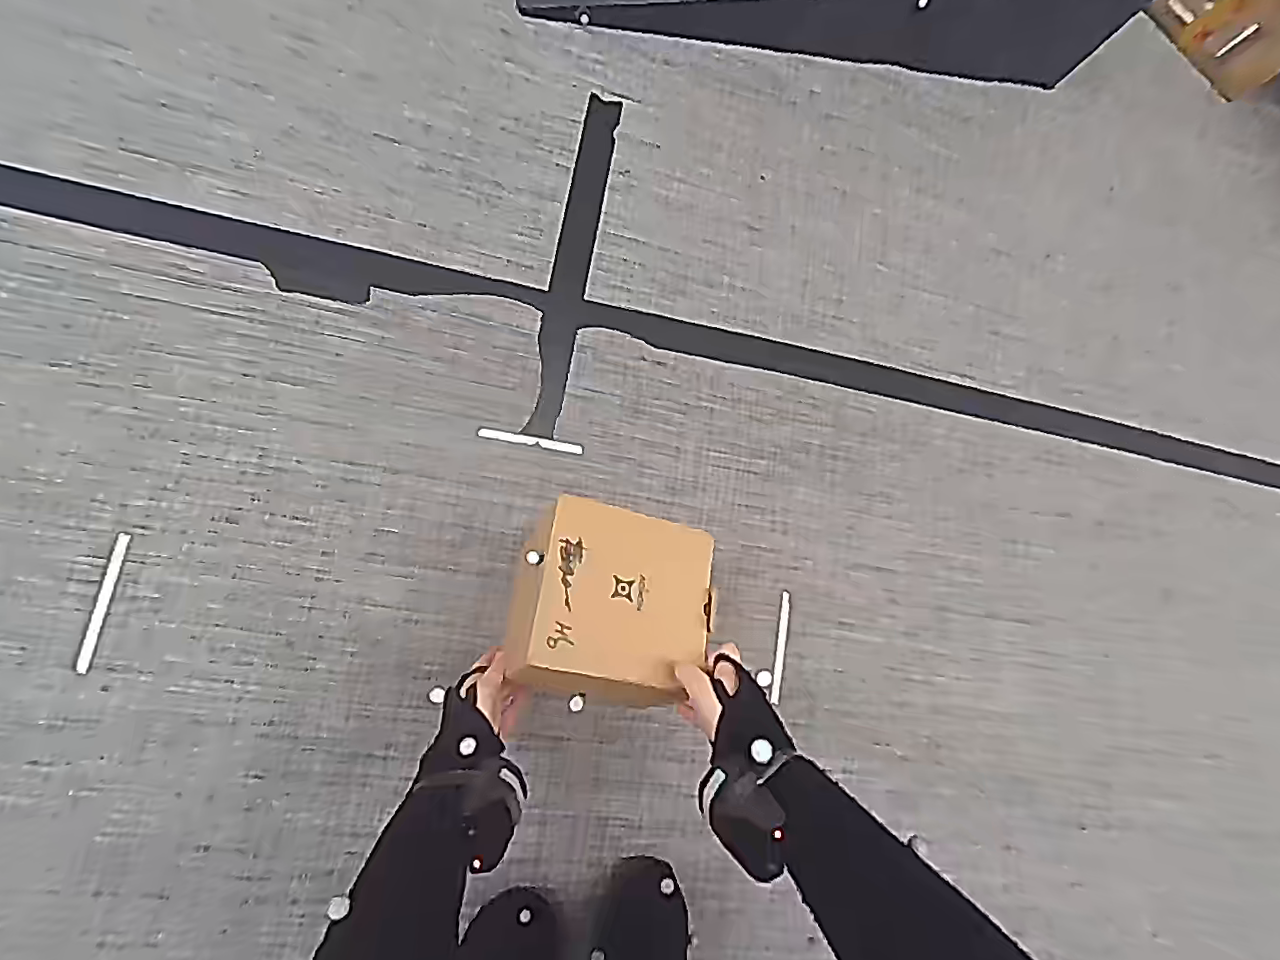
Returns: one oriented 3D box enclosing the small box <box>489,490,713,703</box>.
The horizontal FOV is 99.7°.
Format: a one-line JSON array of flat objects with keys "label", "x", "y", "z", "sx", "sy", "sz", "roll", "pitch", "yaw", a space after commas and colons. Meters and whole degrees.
[{"label": "small box", "x": -0.043, "y": 0.135, "z": 0.572, "sx": 0.179, "sy": 0.176, "sz": 0.168, "roll": 18, "pitch": 59, "yaw": -18}]
